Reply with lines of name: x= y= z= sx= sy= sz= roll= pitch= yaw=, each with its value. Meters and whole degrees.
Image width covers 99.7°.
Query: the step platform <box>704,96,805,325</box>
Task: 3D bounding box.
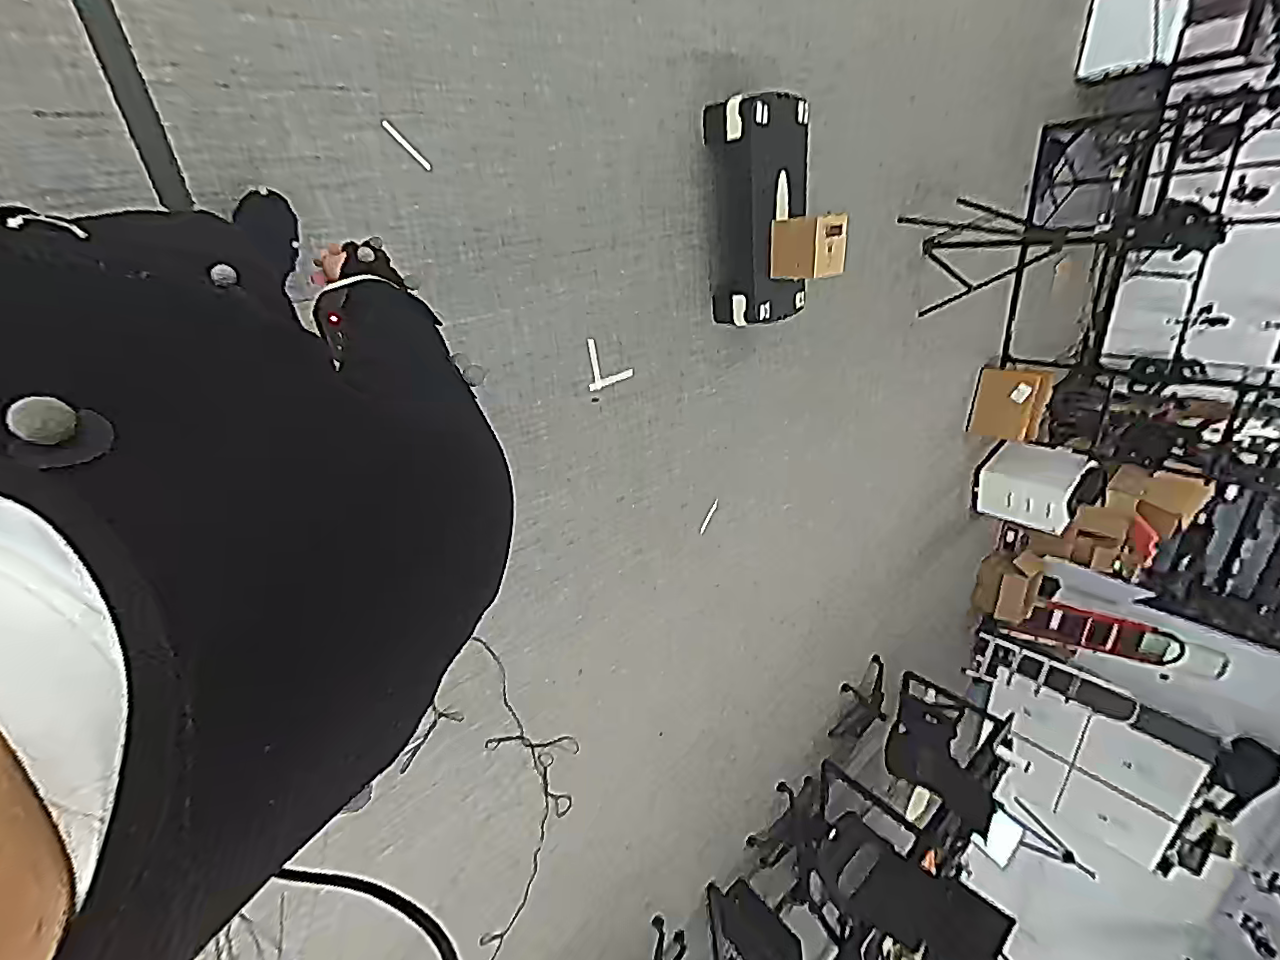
step platform: x=0.398 y=-0.882 z=1.829 sx=0.286 sy=0.204 sz=0.684 roll=-26 pitch=121 yaw=-33
